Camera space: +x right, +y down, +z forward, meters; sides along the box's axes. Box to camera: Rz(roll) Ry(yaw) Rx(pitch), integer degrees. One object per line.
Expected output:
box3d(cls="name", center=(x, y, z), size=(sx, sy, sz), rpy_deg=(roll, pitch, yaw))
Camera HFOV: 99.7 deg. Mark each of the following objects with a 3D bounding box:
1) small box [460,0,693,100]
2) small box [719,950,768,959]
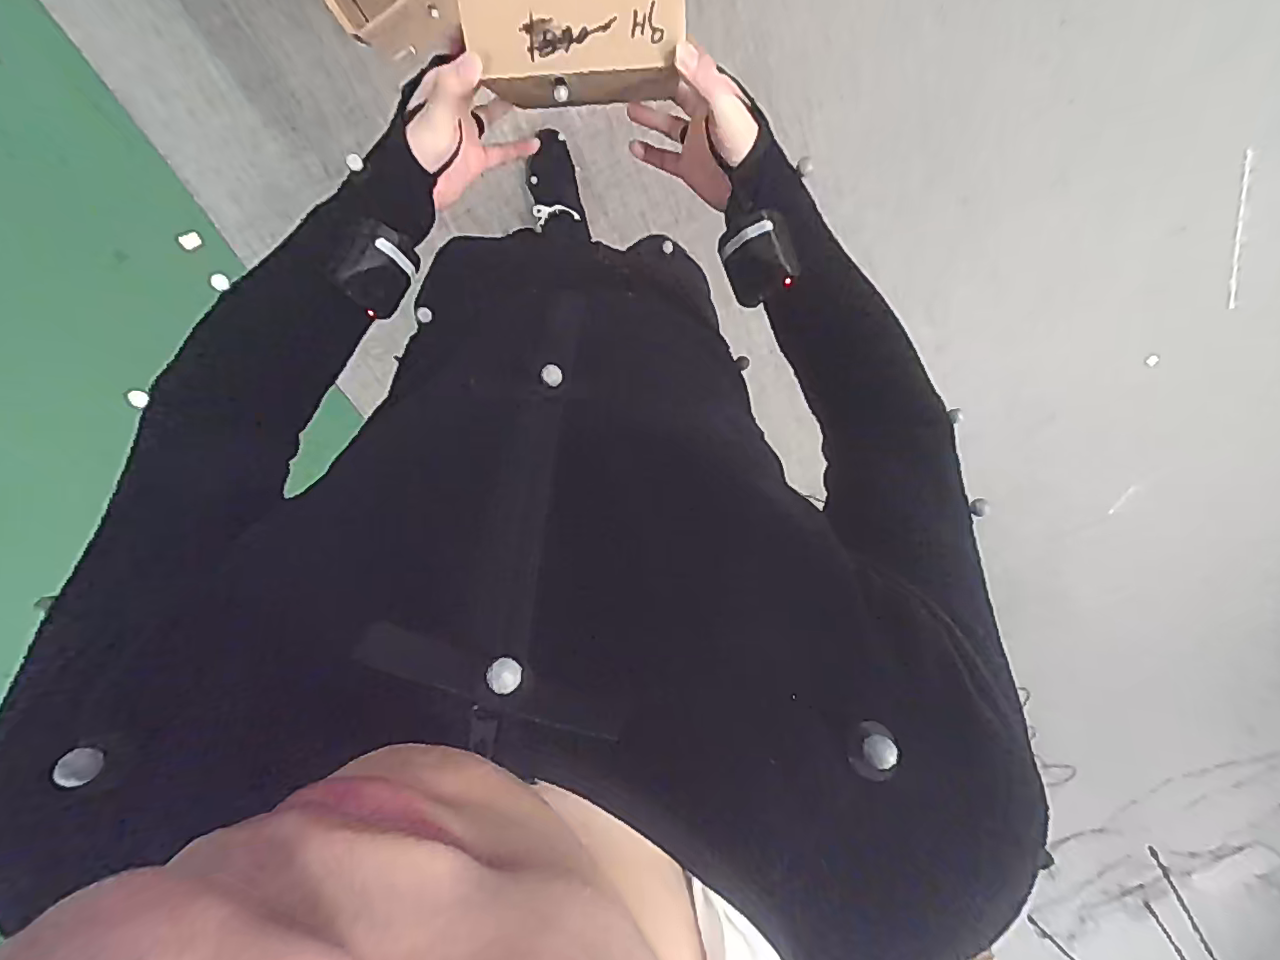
box3d(cls="small box", center=(-0.047, -0.421, 0.424), size=(0.168, 0.176, 0.179), rpy_deg=(-2, 118, 2))
box3d(cls="small box", center=(0.308, 1.477, 1.534), size=(0.168, 0.176, 0.179), rpy_deg=(-24, 120, 7))
